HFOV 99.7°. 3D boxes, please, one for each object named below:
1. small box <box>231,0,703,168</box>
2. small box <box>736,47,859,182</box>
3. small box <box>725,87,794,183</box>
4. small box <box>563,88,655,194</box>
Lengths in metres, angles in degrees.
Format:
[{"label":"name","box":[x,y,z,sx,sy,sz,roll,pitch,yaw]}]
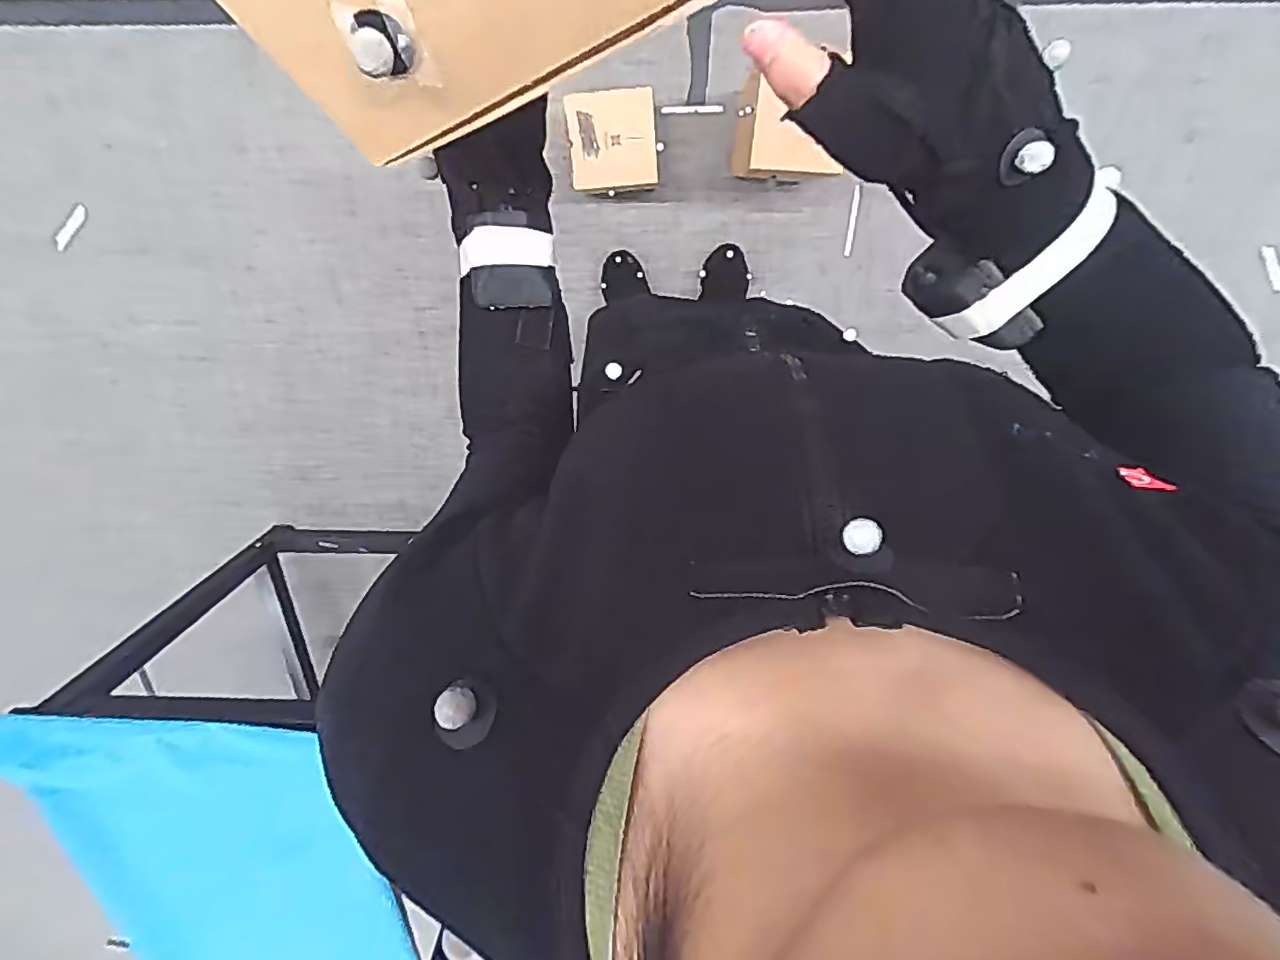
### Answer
[{"label":"small box","box":[-0.081,-0.267,0.194,0.179,0.168,0.176,-10,153,24]},{"label":"small box","box":[0.276,-0.658,0.993,0.168,0.176,0.179,5,116,0]},{"label":"small box","box":[0.288,-0.730,1.138,0.179,0.176,0.168,4,114,-2]},{"label":"small box","box":[-0.058,-0.713,1.153,0.179,0.176,0.168,-4,115,2]}]
